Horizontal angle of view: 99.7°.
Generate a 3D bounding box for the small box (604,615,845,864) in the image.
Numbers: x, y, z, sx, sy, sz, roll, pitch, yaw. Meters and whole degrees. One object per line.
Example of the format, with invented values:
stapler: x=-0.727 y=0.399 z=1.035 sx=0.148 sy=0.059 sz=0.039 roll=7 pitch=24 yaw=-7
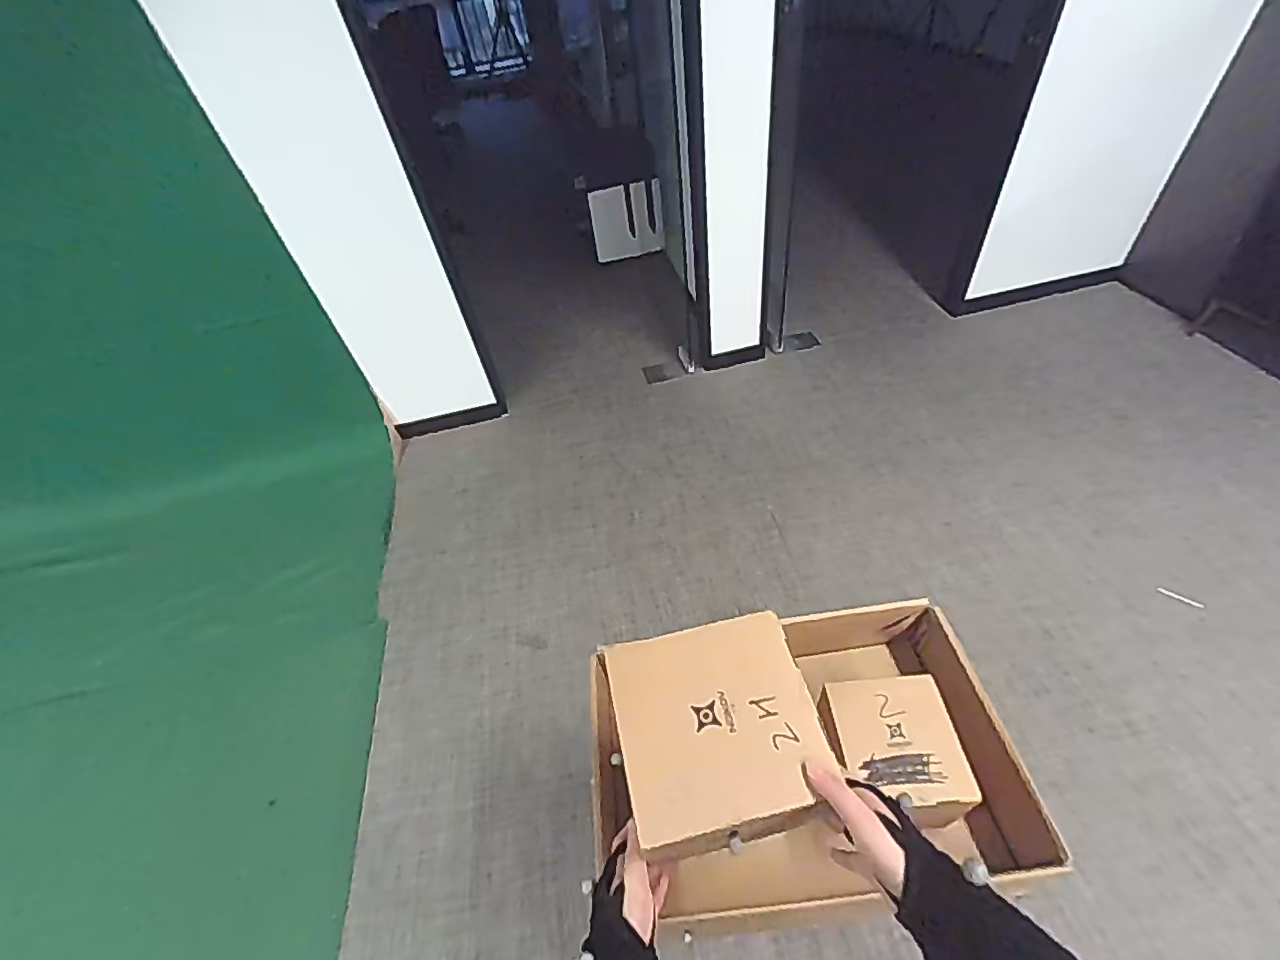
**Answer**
small box: x=0.071 y=0.261 z=0.536 sx=0.179 sy=0.176 sz=0.168 roll=-12 pitch=52 yaw=-5
